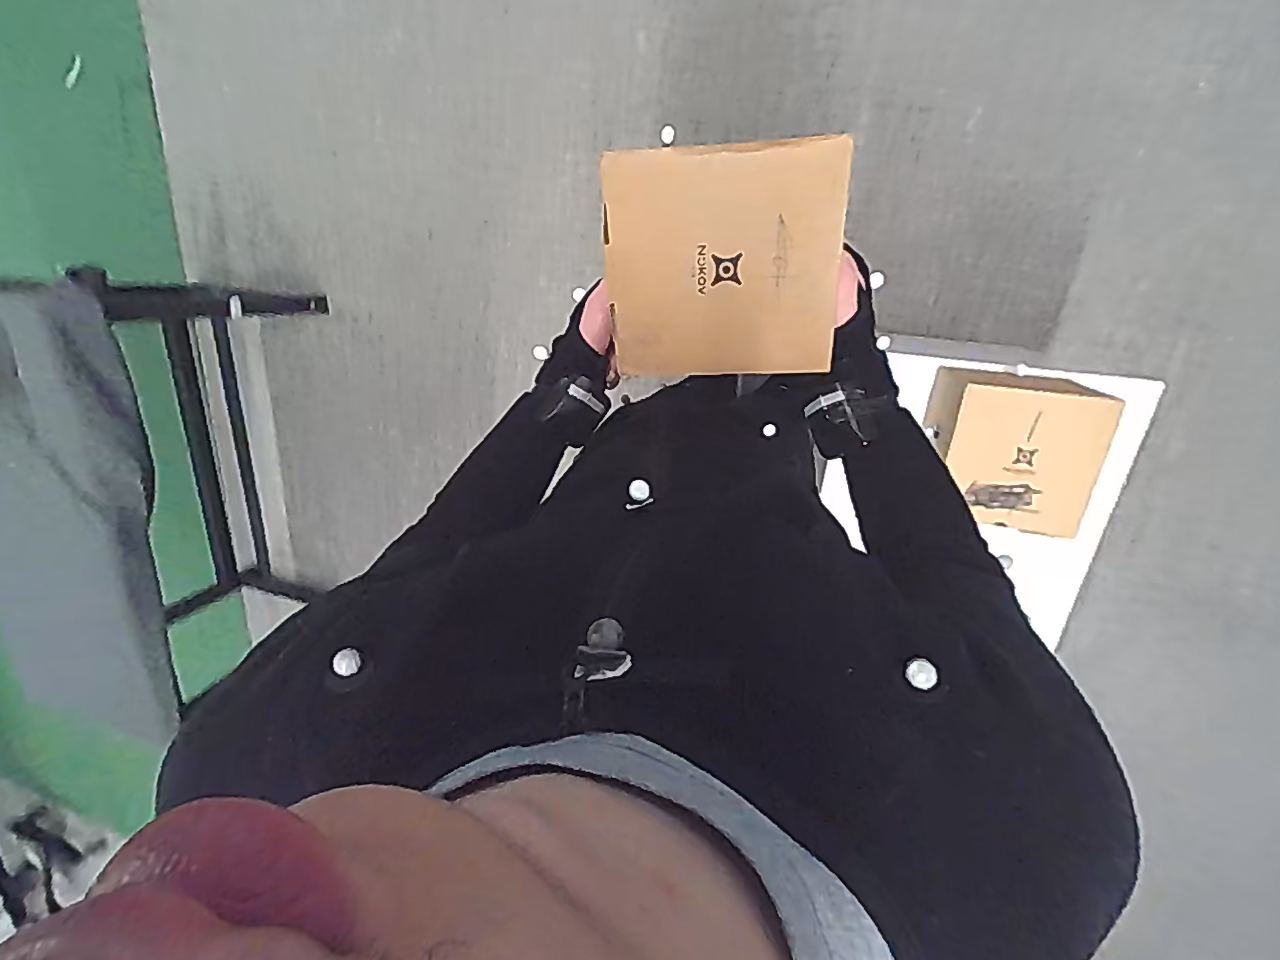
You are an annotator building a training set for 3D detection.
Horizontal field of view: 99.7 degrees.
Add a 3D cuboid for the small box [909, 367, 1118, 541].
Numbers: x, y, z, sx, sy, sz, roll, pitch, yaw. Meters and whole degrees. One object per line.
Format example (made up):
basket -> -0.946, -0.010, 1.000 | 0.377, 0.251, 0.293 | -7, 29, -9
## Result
small box -> 0.474, -0.045, 0.725 | 0.168, 0.176, 0.179 | 10, 111, 14
